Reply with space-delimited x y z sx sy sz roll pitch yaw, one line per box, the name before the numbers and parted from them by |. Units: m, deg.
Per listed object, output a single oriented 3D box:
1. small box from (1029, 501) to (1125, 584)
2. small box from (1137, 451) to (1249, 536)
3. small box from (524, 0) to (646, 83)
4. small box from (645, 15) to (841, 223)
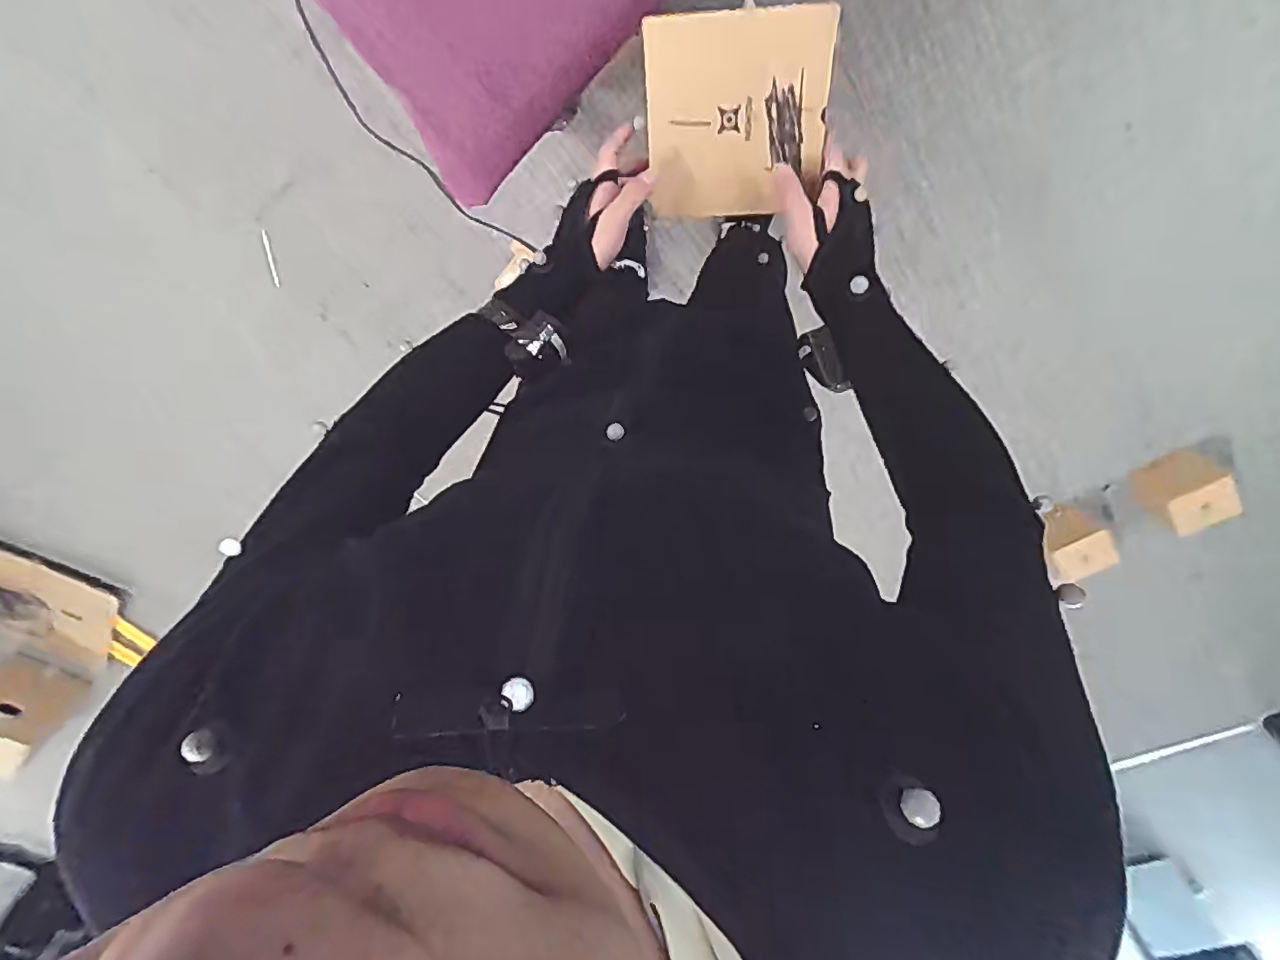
small box | 1.440 0.204 1.789 0.168 0.176 0.179 -34 116 22
small box | 1.690 0.034 1.663 0.168 0.176 0.179 -34 117 23
small box | -0.099 -0.934 1.080 0.179 0.176 0.168 -34 116 22
small box | 0.095 -0.379 0.584 0.179 0.176 0.168 0 121 3
